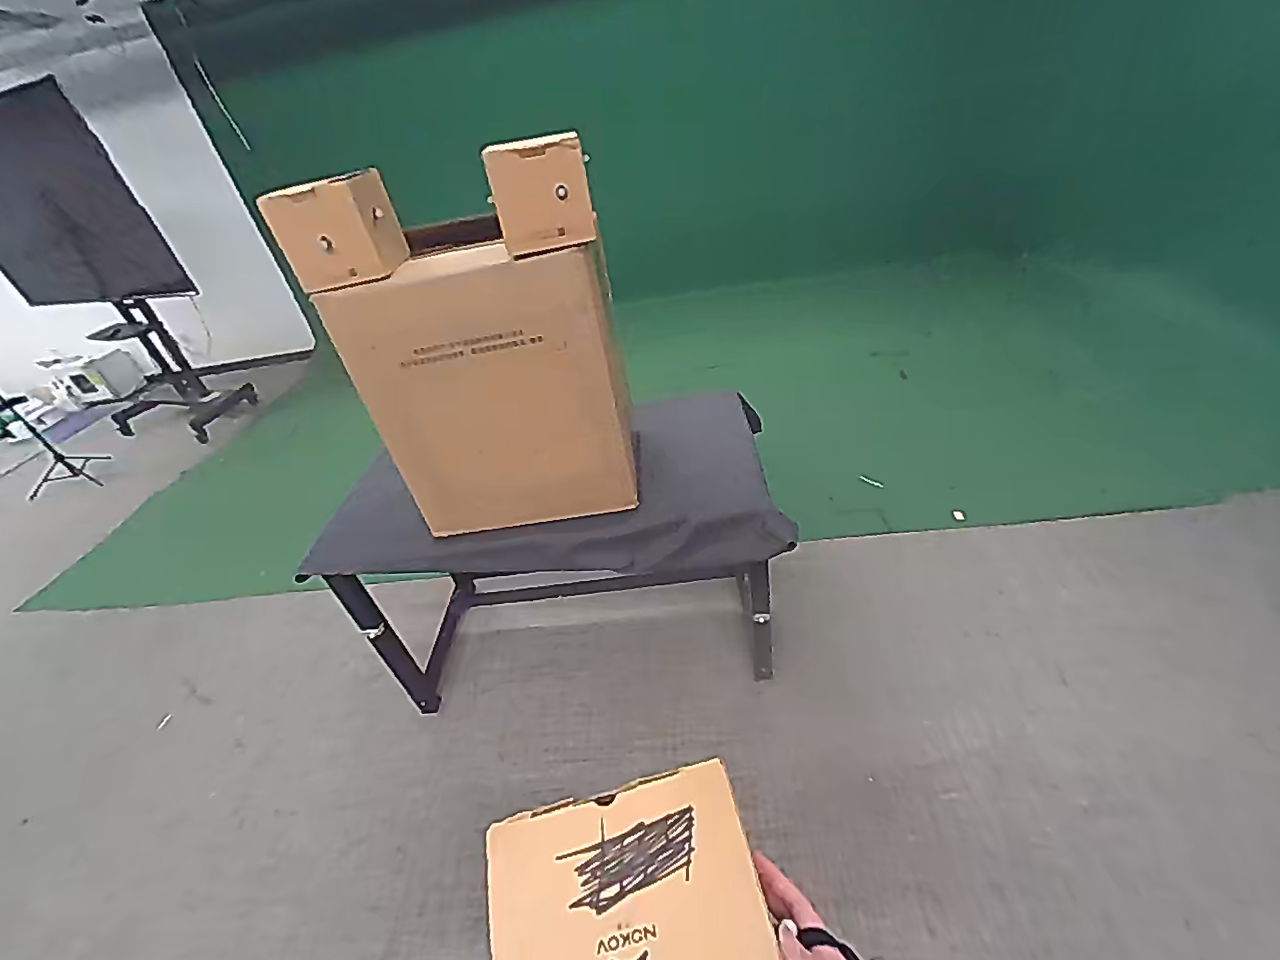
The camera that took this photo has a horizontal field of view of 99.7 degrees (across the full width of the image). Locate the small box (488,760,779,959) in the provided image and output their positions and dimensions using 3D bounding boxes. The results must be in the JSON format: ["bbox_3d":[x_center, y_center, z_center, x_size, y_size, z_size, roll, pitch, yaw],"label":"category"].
[{"bbox_3d":[0.007,0.322,0.369,0.168,0.176,0.179,-17,51,0],"label":"small box"}]

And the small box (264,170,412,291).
[{"bbox_3d":[-0.569,-0.481,1.051,0.168,0.176,0.179,-11,36,3],"label":"small box"}]

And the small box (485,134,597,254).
[{"bbox_3d":[-0.177,-0.533,1.011,0.168,0.176,0.179,-11,35,-2],"label":"small box"}]
